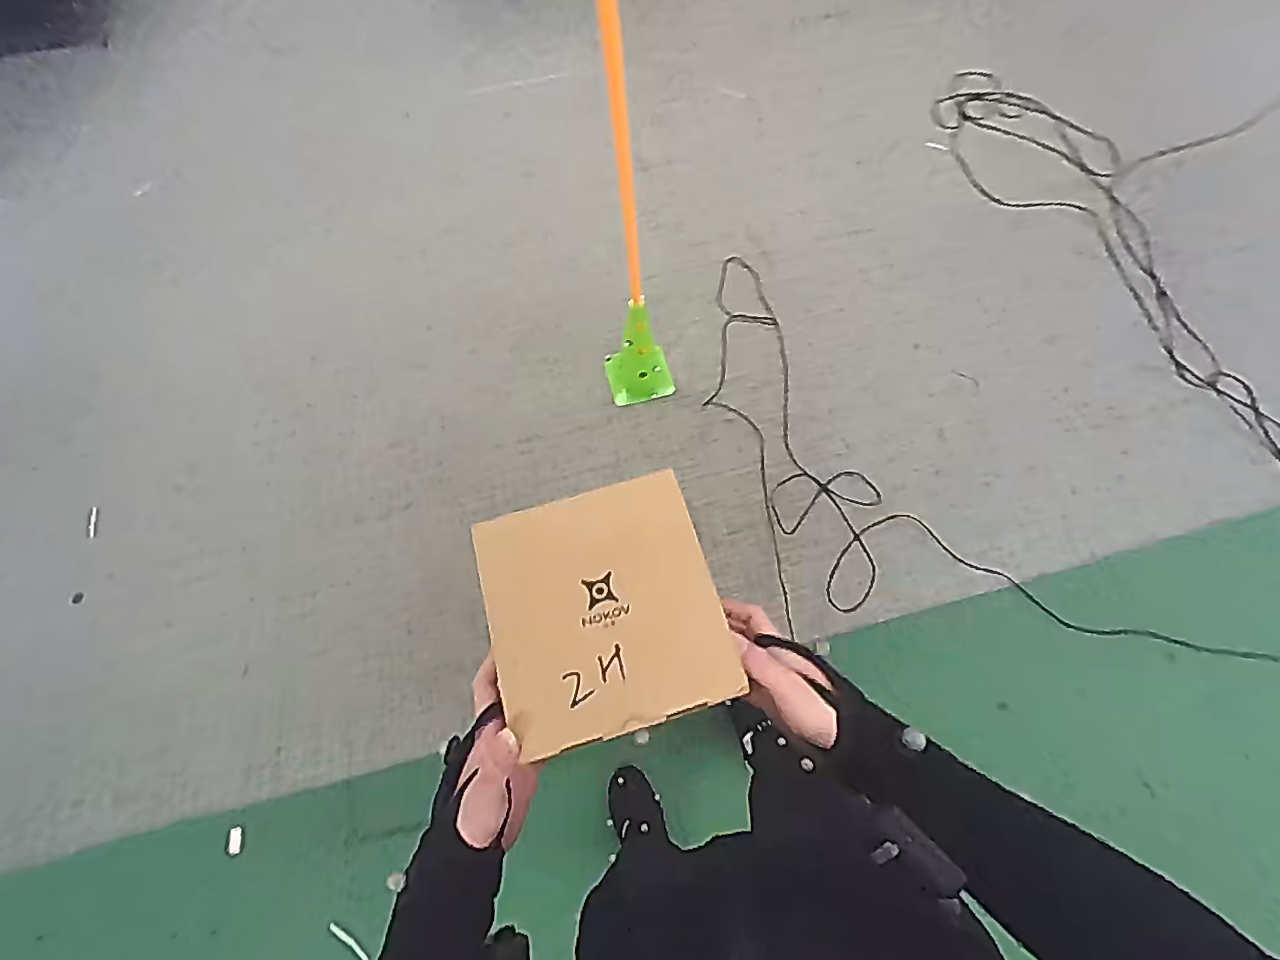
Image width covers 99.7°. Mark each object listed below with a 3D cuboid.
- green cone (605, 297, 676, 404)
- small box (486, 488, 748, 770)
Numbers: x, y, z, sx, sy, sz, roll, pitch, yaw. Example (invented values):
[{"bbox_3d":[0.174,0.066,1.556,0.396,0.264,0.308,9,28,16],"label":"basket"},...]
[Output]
[{"bbox_3d":[0.002,-0.411,1.626,0.202,0.368,0.200,-14,69,-6],"label":"green cone"},{"bbox_3d":[-0.022,0.132,0.472,0.168,0.176,0.179,-14,68,-4],"label":"small box"}]
